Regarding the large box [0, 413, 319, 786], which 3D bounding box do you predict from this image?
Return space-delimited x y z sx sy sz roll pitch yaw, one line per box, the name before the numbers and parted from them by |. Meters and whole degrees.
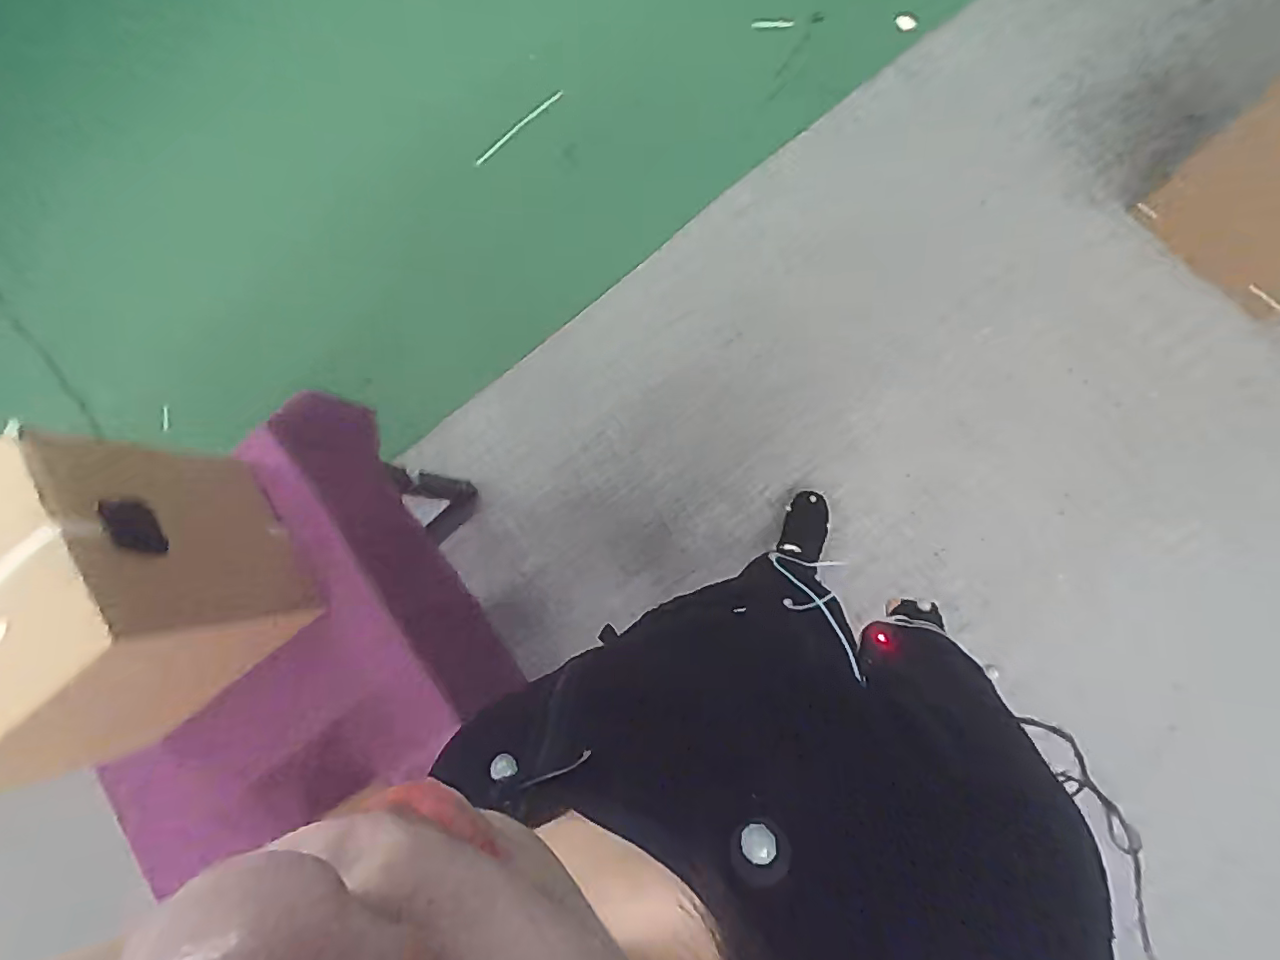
large box | -0.783 0.178 0.776 0.408 0.320 0.320 -37 79 3
